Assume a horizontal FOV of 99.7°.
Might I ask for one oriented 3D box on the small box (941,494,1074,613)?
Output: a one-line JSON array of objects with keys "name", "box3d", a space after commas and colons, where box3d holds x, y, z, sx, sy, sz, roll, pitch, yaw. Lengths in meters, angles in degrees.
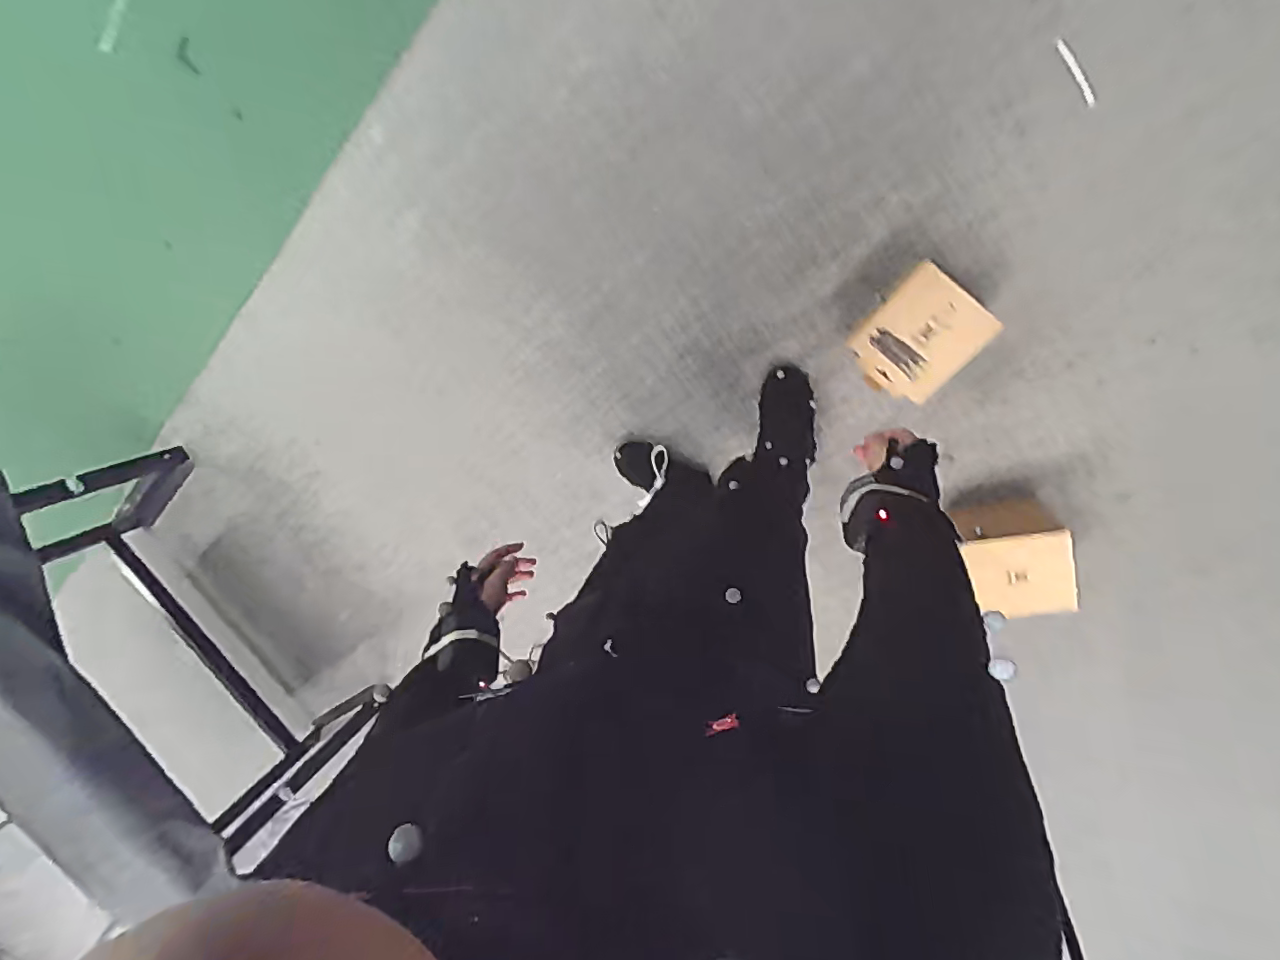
[{"name": "small box", "box3d": [0.718, 0.141, 1.069, 0.179, 0.176, 0.168, -11, 108, 24]}]
